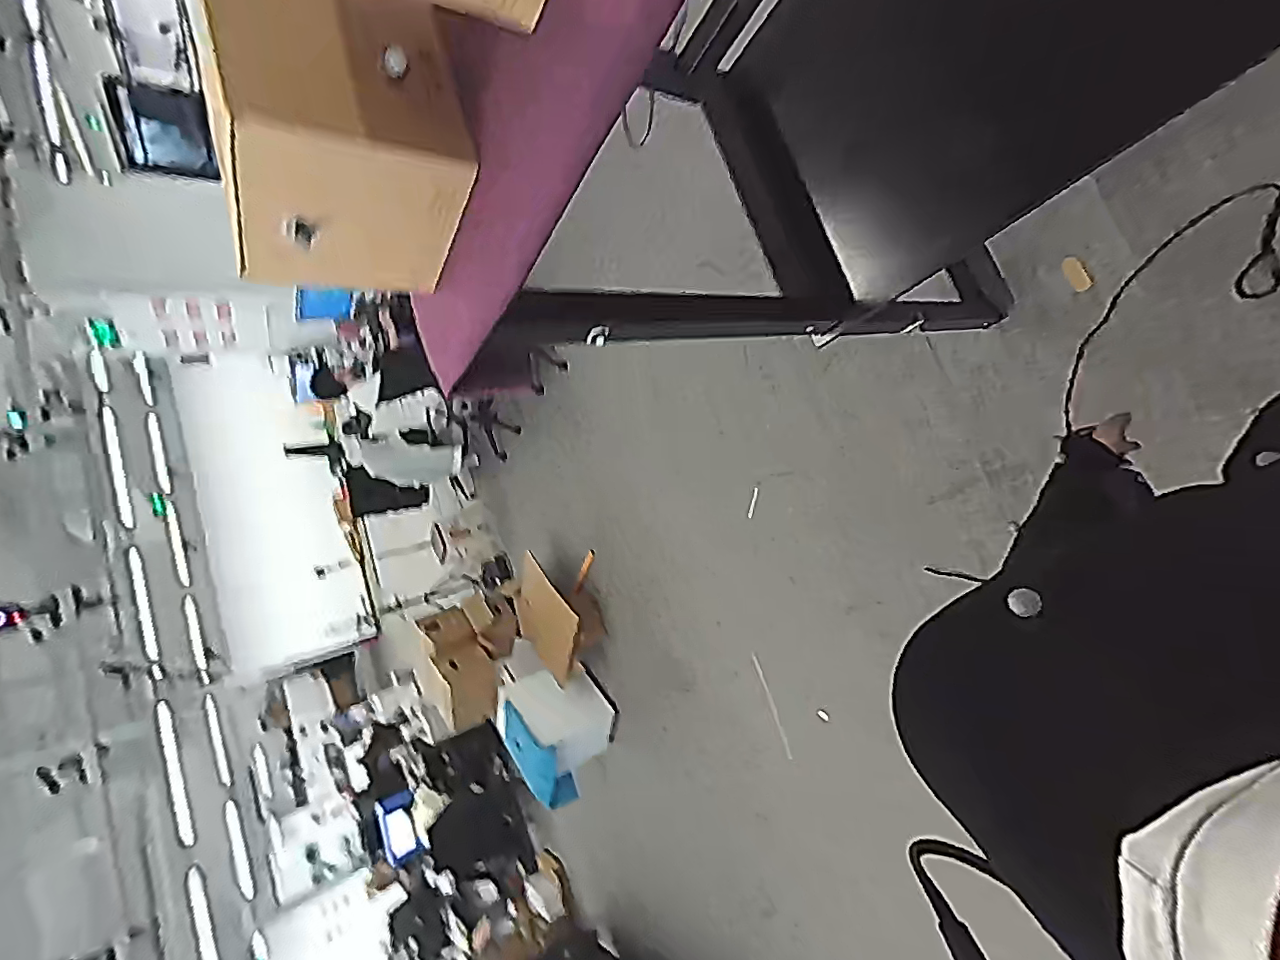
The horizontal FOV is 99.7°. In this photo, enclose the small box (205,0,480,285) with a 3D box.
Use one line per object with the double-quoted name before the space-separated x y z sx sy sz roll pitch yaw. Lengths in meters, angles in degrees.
"small box" -0.257 -0.290 0.474 0.179 0.176 0.168 -31 74 52
